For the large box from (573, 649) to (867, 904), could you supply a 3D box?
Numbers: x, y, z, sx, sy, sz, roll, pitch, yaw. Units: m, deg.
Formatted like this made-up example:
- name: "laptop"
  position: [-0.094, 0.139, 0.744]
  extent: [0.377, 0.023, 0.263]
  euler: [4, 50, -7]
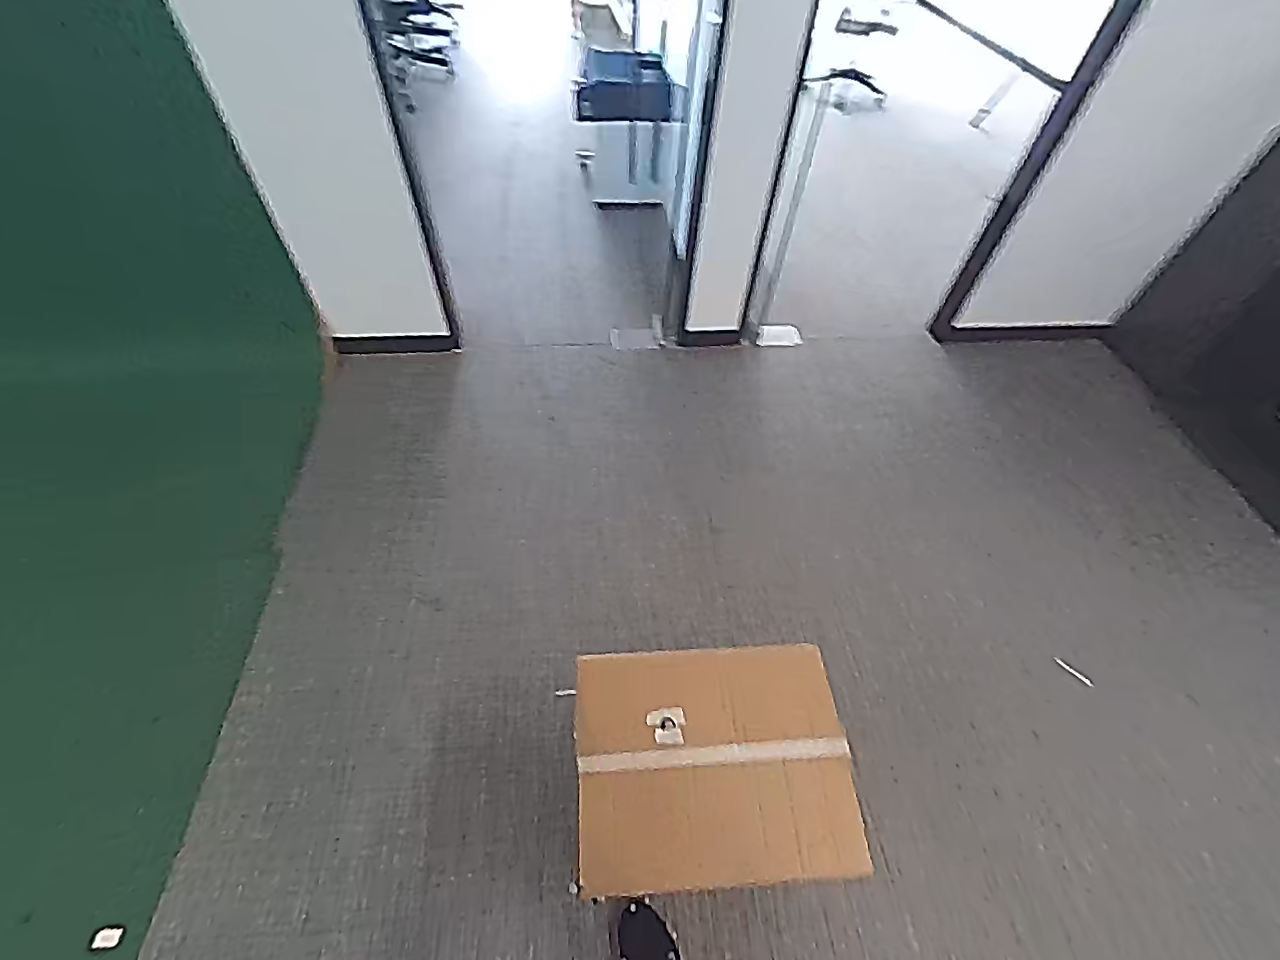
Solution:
- name: "large box"
  position: [0.098, 0.493, 0.920]
  extent: [0.408, 0.320, 0.320]
  euler: [-1, 57, -4]
